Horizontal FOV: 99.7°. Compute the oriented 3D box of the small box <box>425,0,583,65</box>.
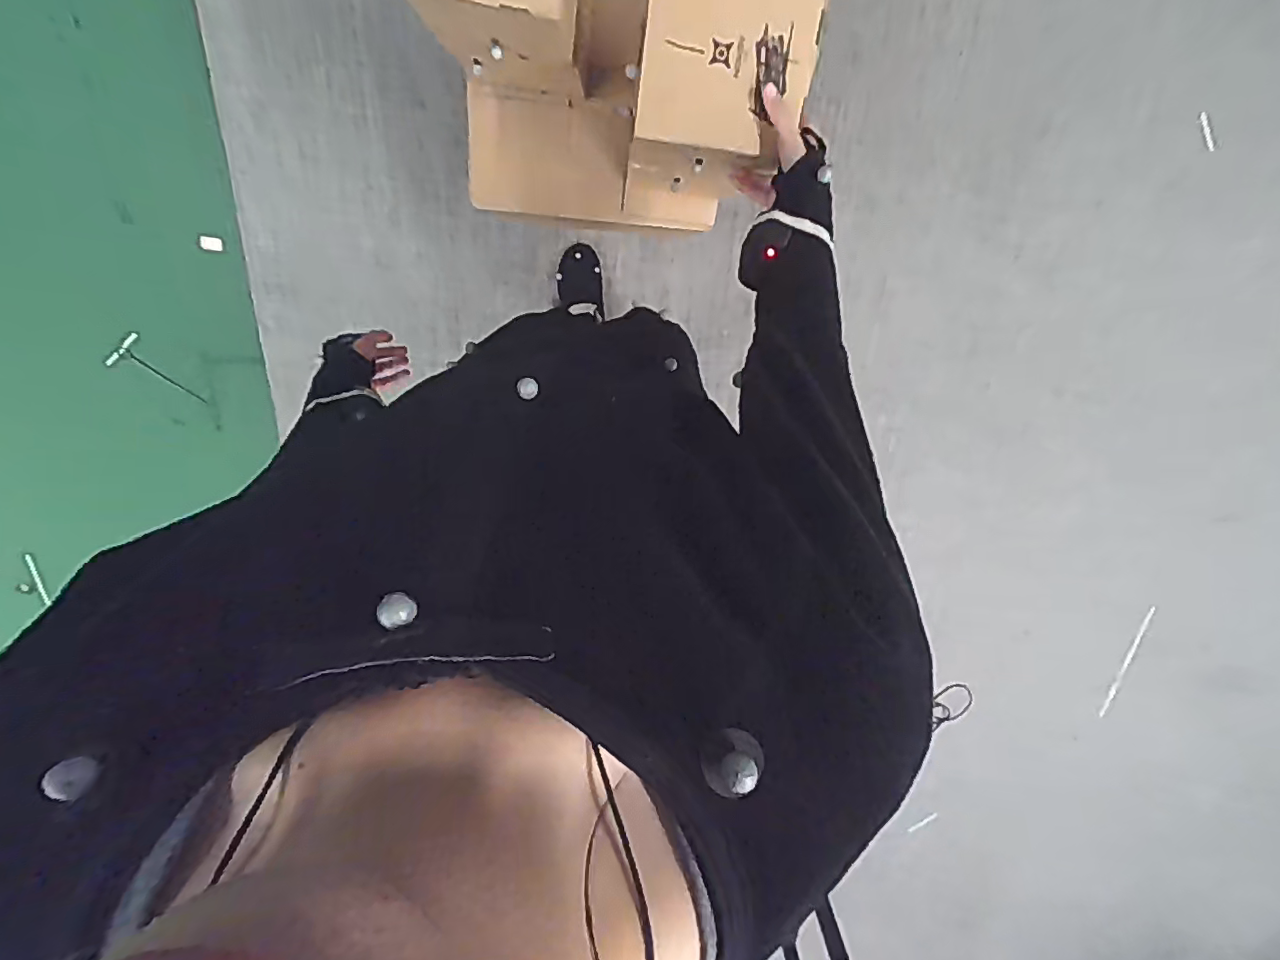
[{"bbox_3d":[-0.143,-0.574,0.560,0.168,0.176,0.179,8,113,-5],"label":"small box"}]

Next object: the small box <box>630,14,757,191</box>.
[{"bbox_3d":[0.083,-0.518,0.768,0.179,0.176,0.168,7,113,-3],"label":"small box"}]

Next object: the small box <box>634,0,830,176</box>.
[{"bbox_3d":[0.090,-0.459,0.617,0.179,0.176,0.168,7,111,-4],"label":"small box"}]
